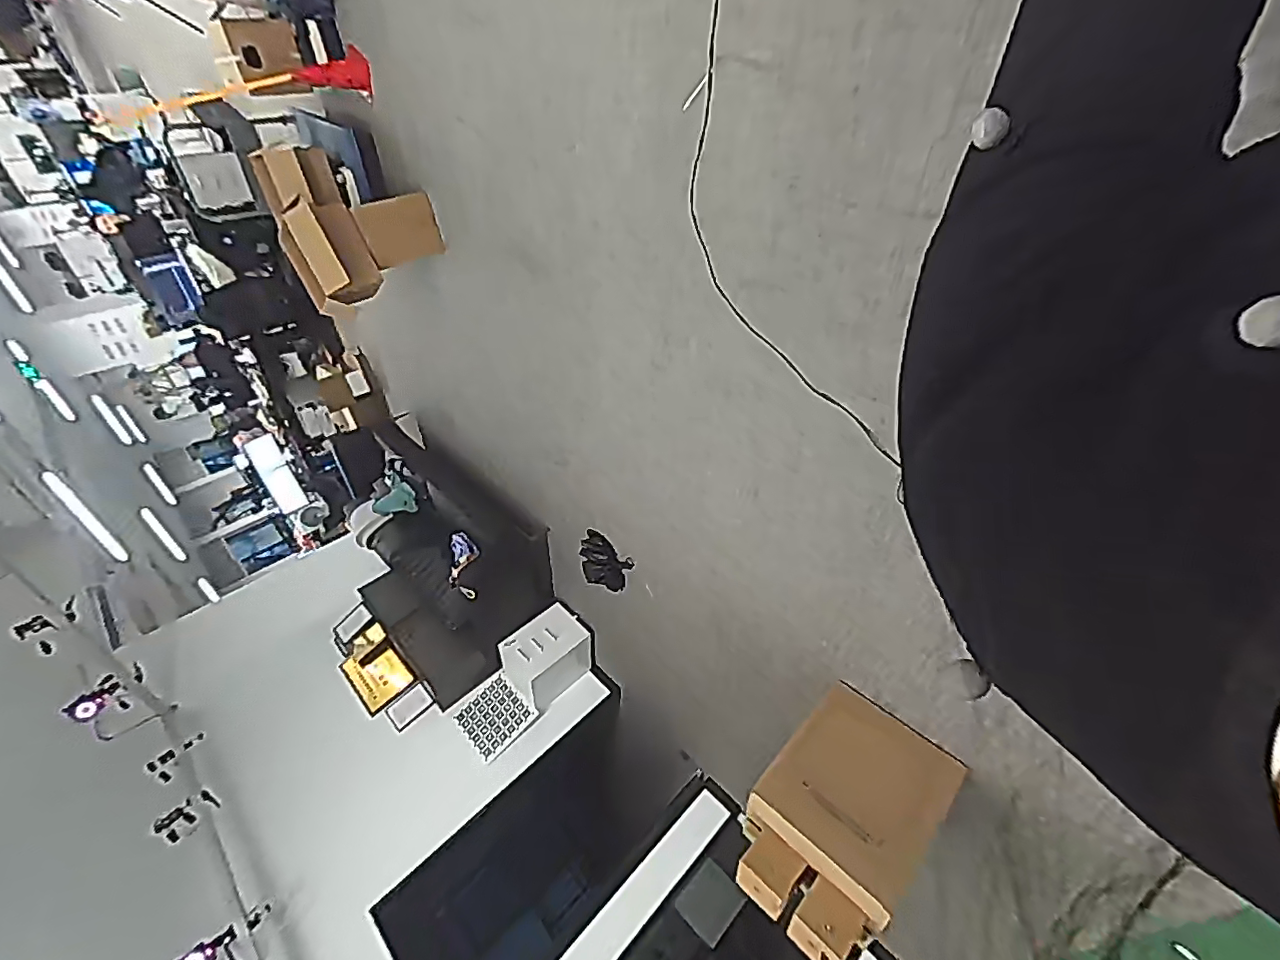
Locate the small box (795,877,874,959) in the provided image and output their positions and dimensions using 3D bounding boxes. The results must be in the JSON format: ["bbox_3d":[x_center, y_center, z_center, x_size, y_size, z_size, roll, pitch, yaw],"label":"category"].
[{"bbox_3d":[0.644,1.475,1.784,0.179,0.176,0.168,29,132,37],"label":"small box"}]

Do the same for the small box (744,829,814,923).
[{"bbox_3d":[0.493,1.394,1.913,0.179,0.176,0.168,28,130,39],"label":"small box"}]
